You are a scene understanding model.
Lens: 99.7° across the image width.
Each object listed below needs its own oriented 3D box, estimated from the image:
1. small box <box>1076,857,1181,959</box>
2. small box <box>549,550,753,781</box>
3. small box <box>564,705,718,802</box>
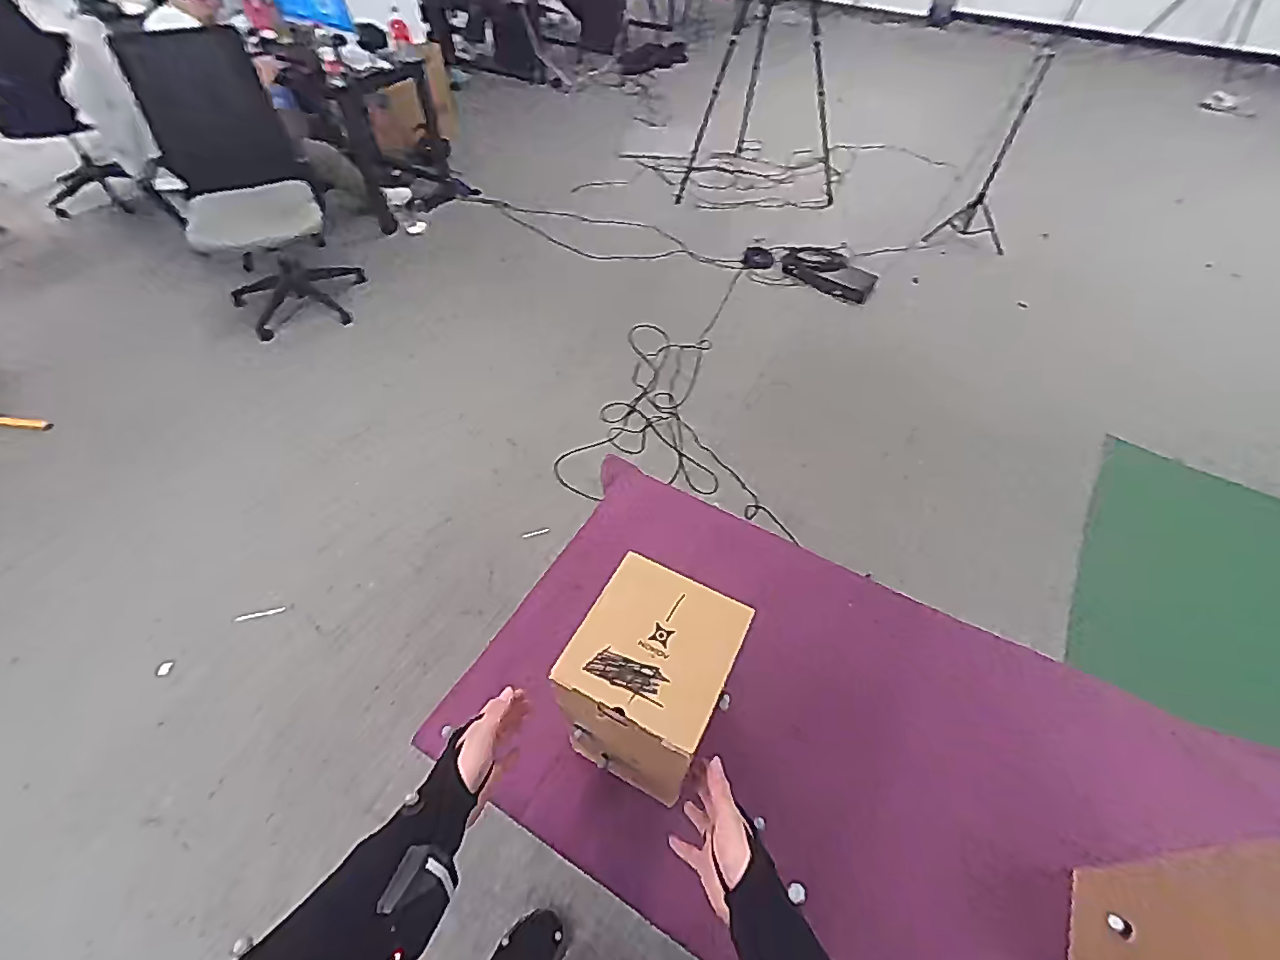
[{"bbox_3d":[0.615,0.557,0.589,0.168,0.176,0.179,23,53,18],"label":"small box"},{"bbox_3d":[0.016,0.222,0.642,0.168,0.176,0.179,23,53,17],"label":"small box"},{"bbox_3d":[0.014,0.325,0.771,0.168,0.176,0.179,22,54,17],"label":"small box"}]
